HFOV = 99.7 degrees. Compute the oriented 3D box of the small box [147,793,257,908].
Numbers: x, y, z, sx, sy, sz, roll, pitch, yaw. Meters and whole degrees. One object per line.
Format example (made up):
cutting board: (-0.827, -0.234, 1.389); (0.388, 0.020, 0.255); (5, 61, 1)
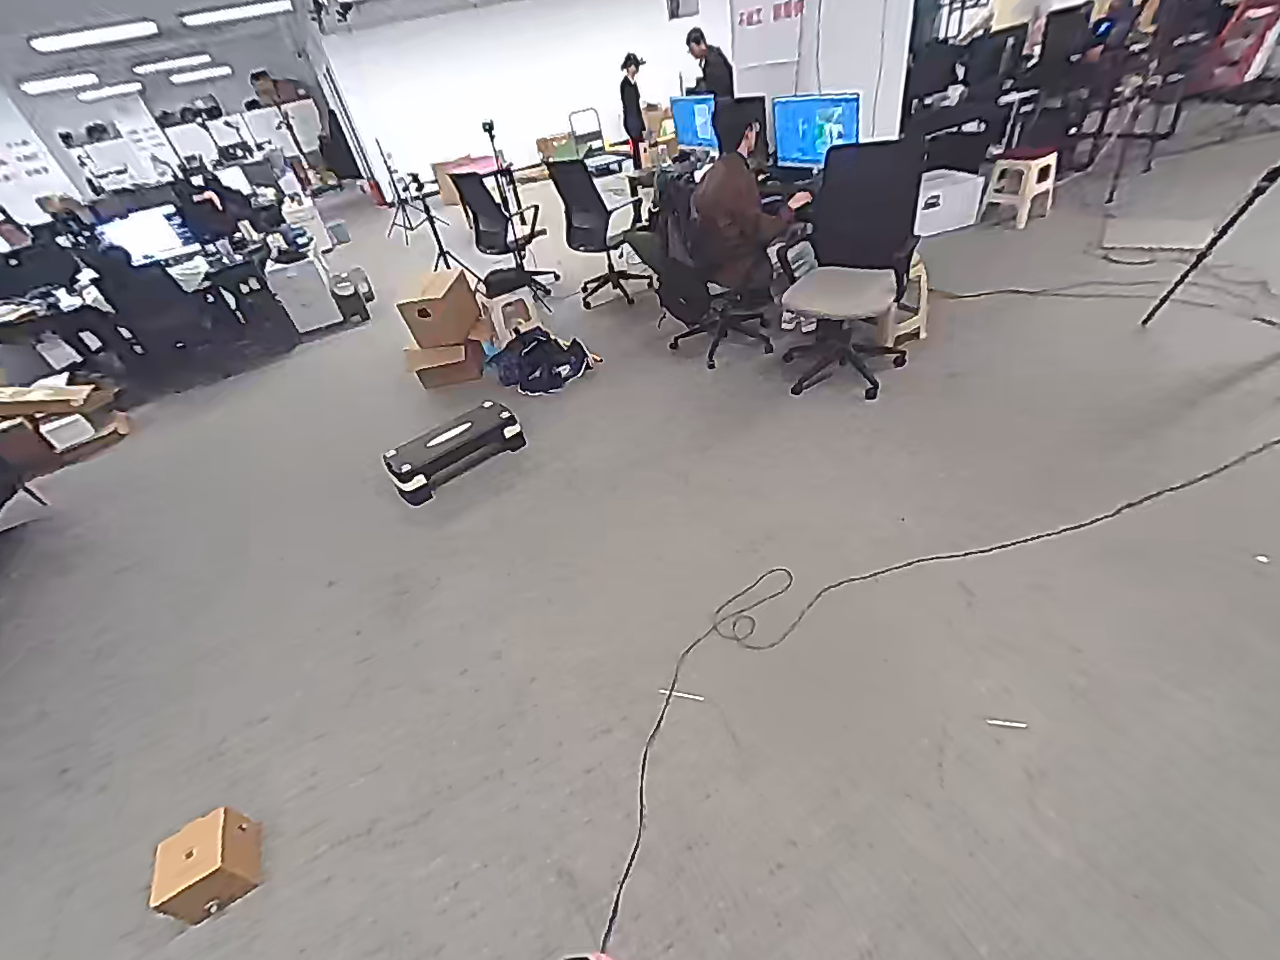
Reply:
small box: (-1.167, 0.999, 1.456); (0.168, 0.176, 0.179); (-28, 43, -18)
